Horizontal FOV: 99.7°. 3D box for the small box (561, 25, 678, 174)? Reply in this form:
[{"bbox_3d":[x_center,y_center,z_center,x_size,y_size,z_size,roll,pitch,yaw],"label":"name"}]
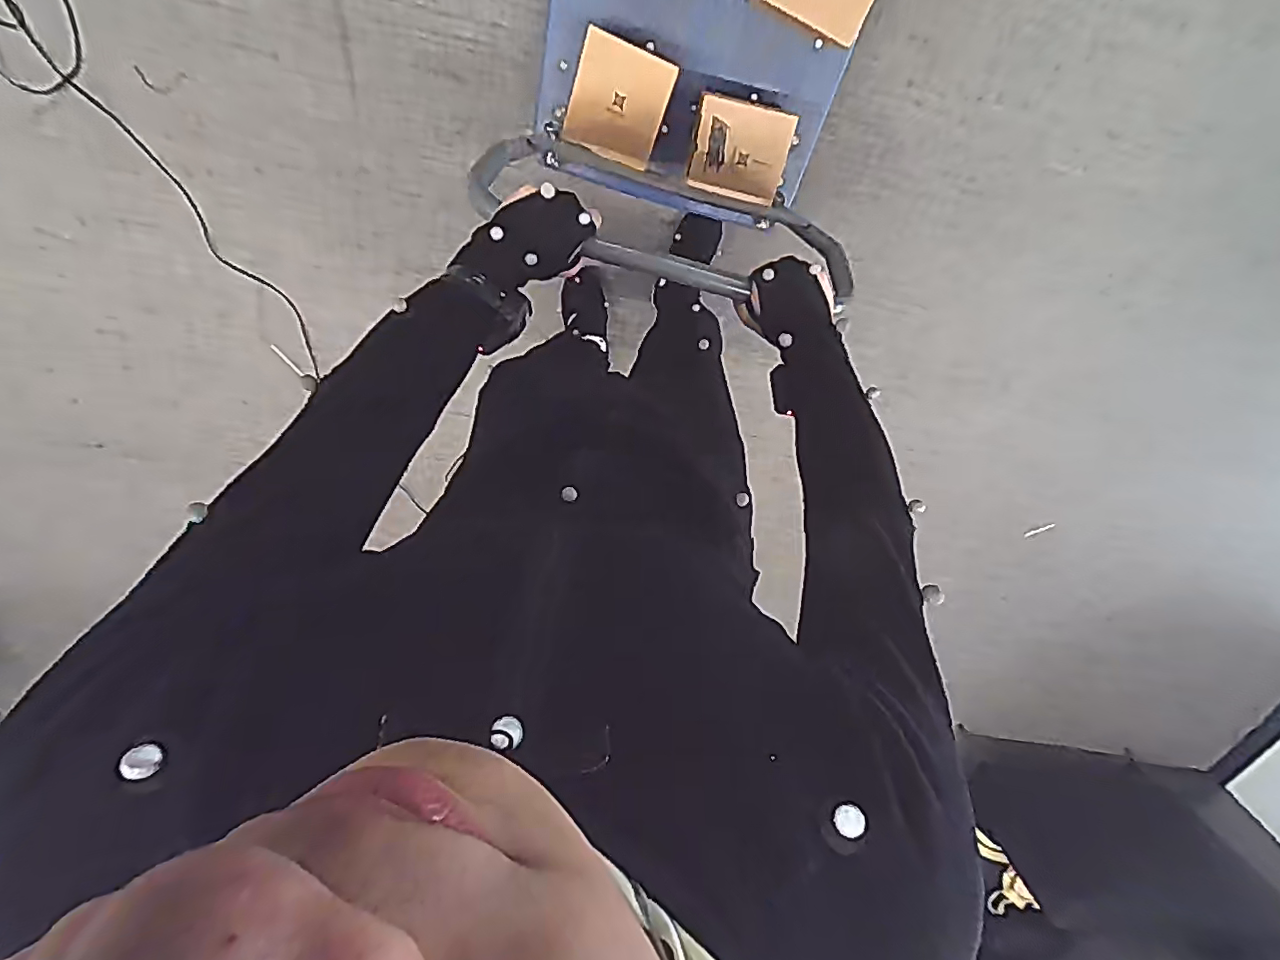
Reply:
[{"bbox_3d":[-0.039,-0.718,1.023,0.168,0.176,0.179,18,128,-12],"label":"small box"}]
